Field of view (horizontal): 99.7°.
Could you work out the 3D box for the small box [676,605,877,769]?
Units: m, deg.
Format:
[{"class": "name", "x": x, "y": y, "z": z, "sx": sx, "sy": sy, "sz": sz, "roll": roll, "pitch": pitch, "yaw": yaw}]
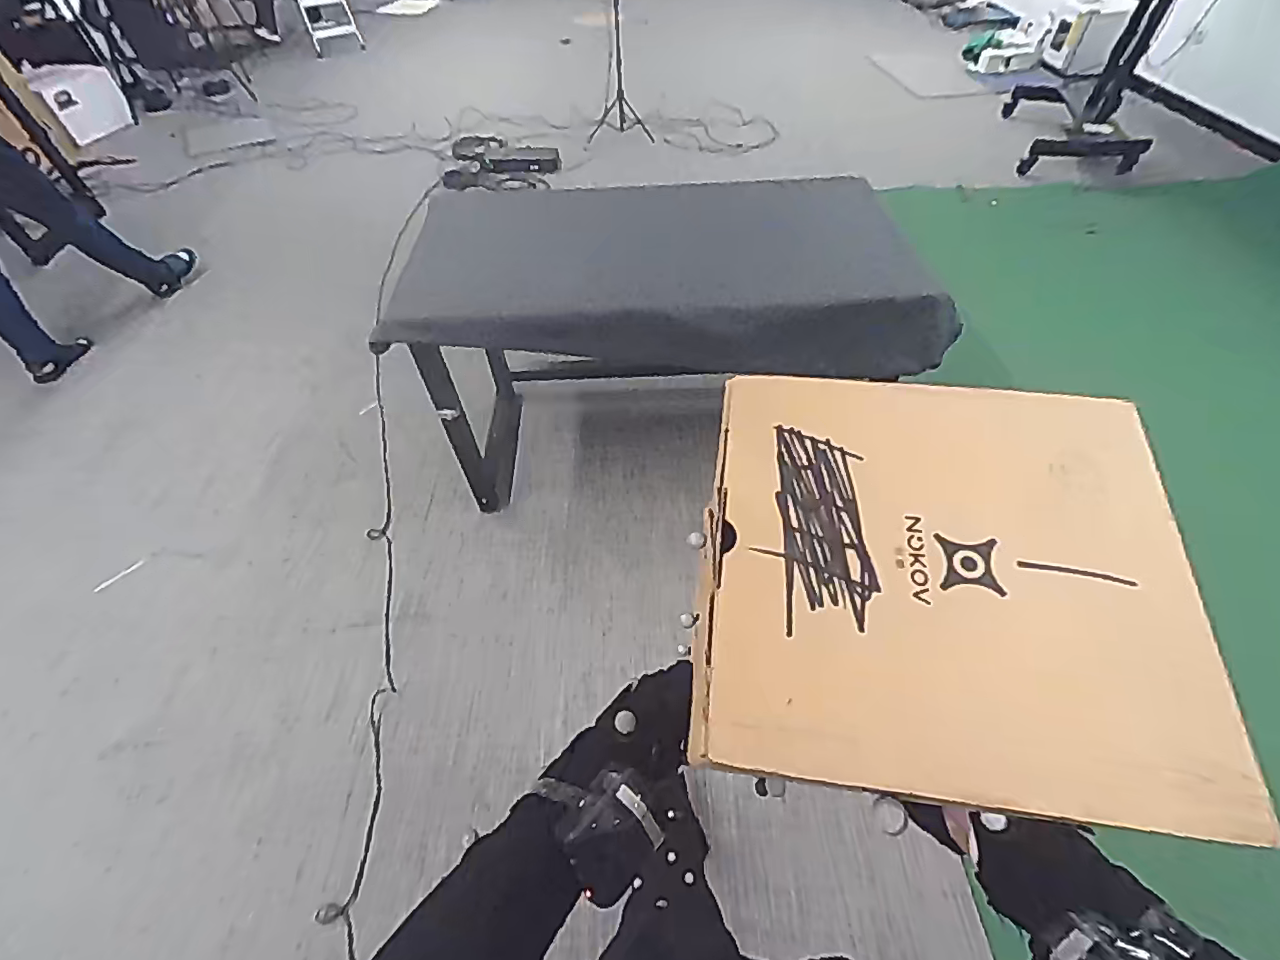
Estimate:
[{"class": "small box", "x": 0.135, "y": 0.206, "z": 0.585, "sx": 0.179, "sy": 0.176, "sz": 0.168, "roll": 6, "pitch": 63, "yaw": 5}]
